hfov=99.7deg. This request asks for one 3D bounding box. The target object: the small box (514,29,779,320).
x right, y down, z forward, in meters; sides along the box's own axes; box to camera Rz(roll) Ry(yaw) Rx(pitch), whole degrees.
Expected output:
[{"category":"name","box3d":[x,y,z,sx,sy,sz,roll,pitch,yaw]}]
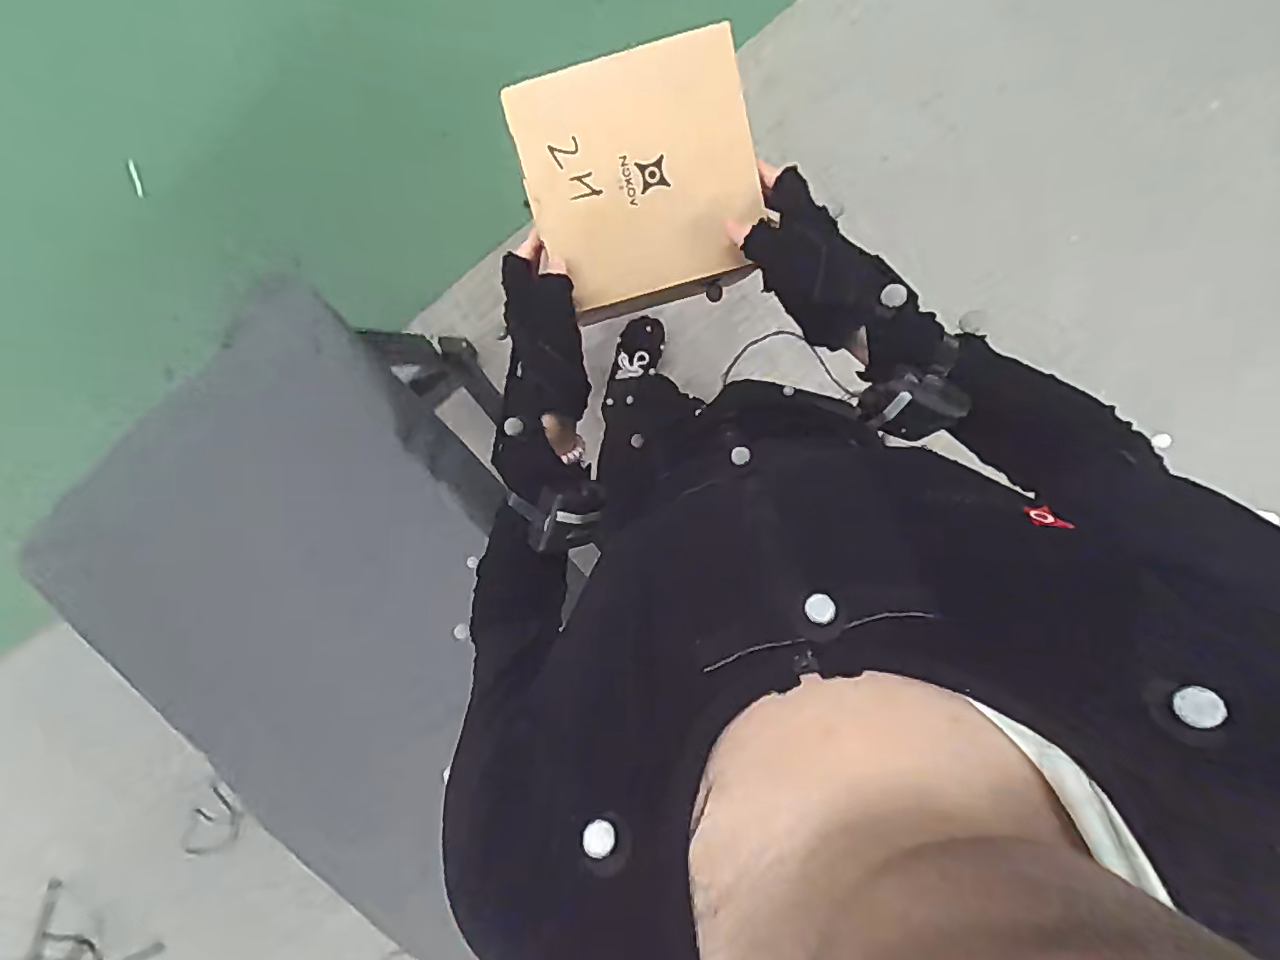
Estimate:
[{"category":"small box","box3d":[0.006,-0.248,0.487,0.179,0.176,0.168,-14,103,2]}]
